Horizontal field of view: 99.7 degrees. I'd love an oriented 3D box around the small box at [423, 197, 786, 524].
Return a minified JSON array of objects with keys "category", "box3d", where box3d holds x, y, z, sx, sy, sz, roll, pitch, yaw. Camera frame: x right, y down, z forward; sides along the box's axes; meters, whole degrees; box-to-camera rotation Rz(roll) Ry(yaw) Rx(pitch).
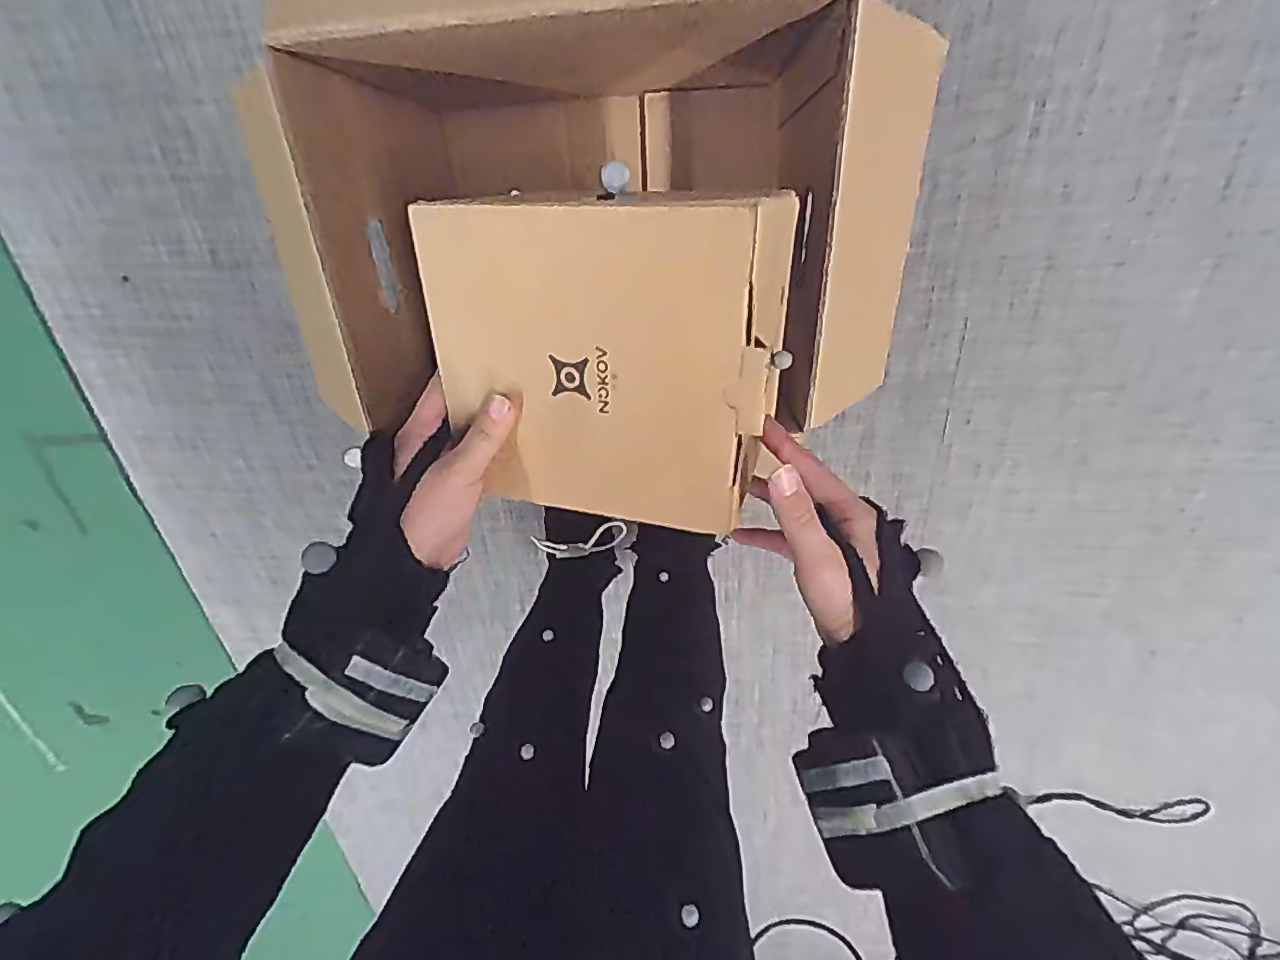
[{"category":"small box","box3d":[-0.007,-0.094,0.361,0.179,0.176,0.168,8,119,16]}]
